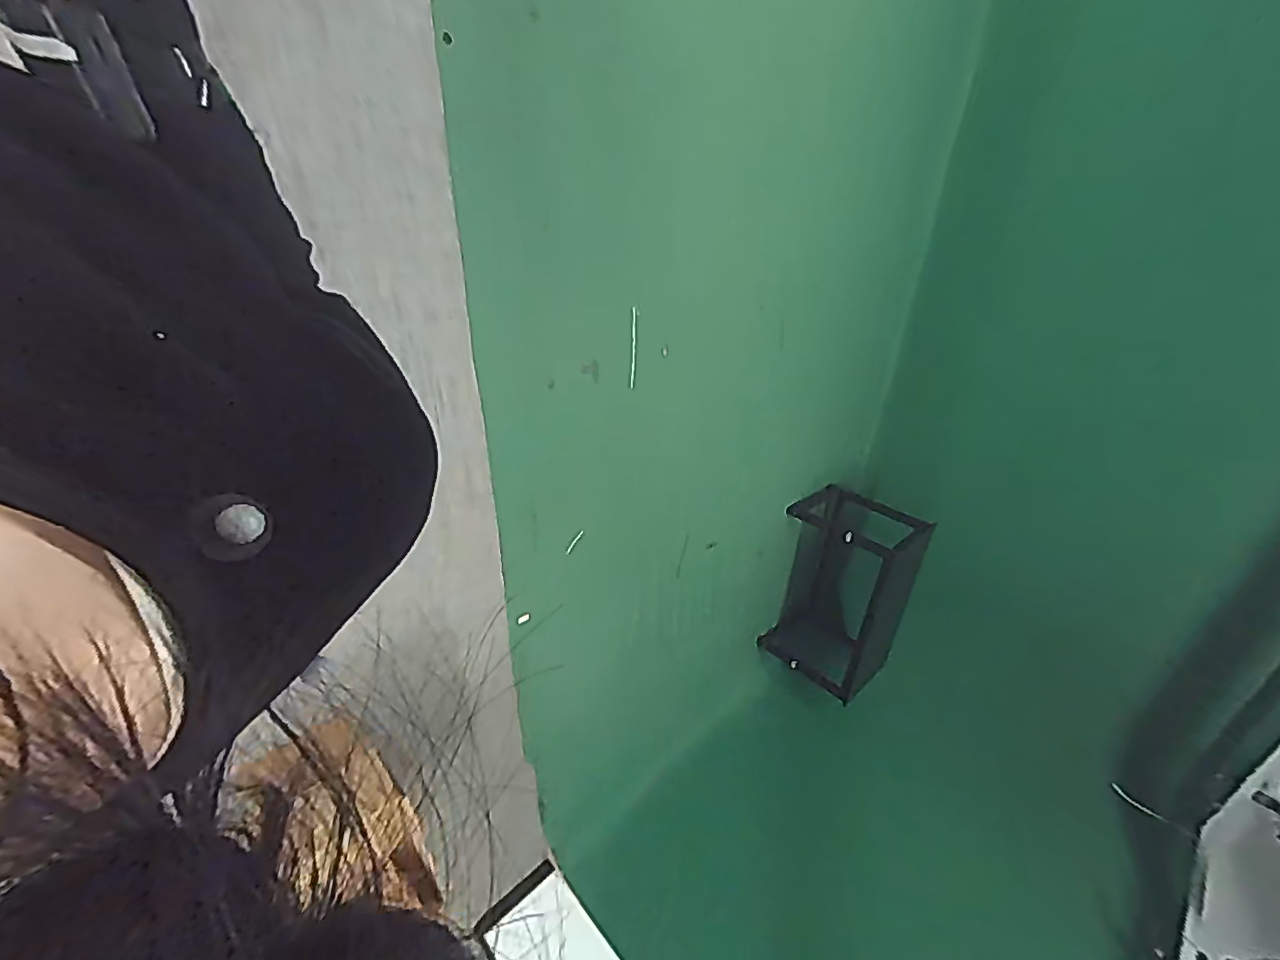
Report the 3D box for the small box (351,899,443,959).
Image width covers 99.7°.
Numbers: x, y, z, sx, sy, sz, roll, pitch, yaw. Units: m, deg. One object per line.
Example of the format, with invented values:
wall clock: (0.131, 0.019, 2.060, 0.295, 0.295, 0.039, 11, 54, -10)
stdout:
small box: (-0.641, 1.282, 1.435, 0.179, 0.176, 0.168, -30, 131, -35)
